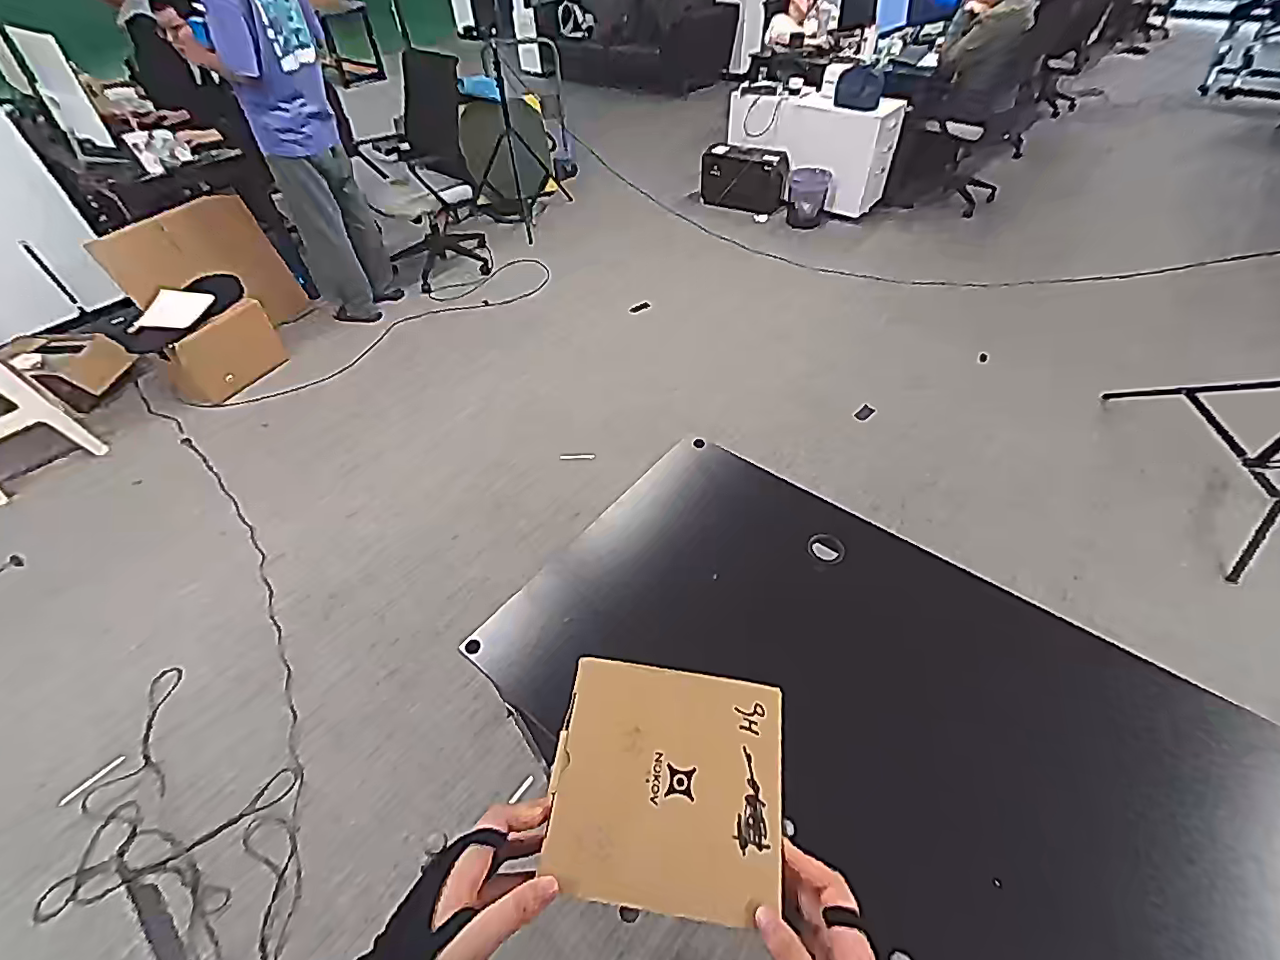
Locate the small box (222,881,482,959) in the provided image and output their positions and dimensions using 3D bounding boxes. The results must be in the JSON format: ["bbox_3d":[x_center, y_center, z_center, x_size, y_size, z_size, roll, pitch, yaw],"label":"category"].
[{"bbox_3d":[-0.201,0.390,0.331,0.179,0.168,0.176,11,36,-37],"label":"small box"}]
